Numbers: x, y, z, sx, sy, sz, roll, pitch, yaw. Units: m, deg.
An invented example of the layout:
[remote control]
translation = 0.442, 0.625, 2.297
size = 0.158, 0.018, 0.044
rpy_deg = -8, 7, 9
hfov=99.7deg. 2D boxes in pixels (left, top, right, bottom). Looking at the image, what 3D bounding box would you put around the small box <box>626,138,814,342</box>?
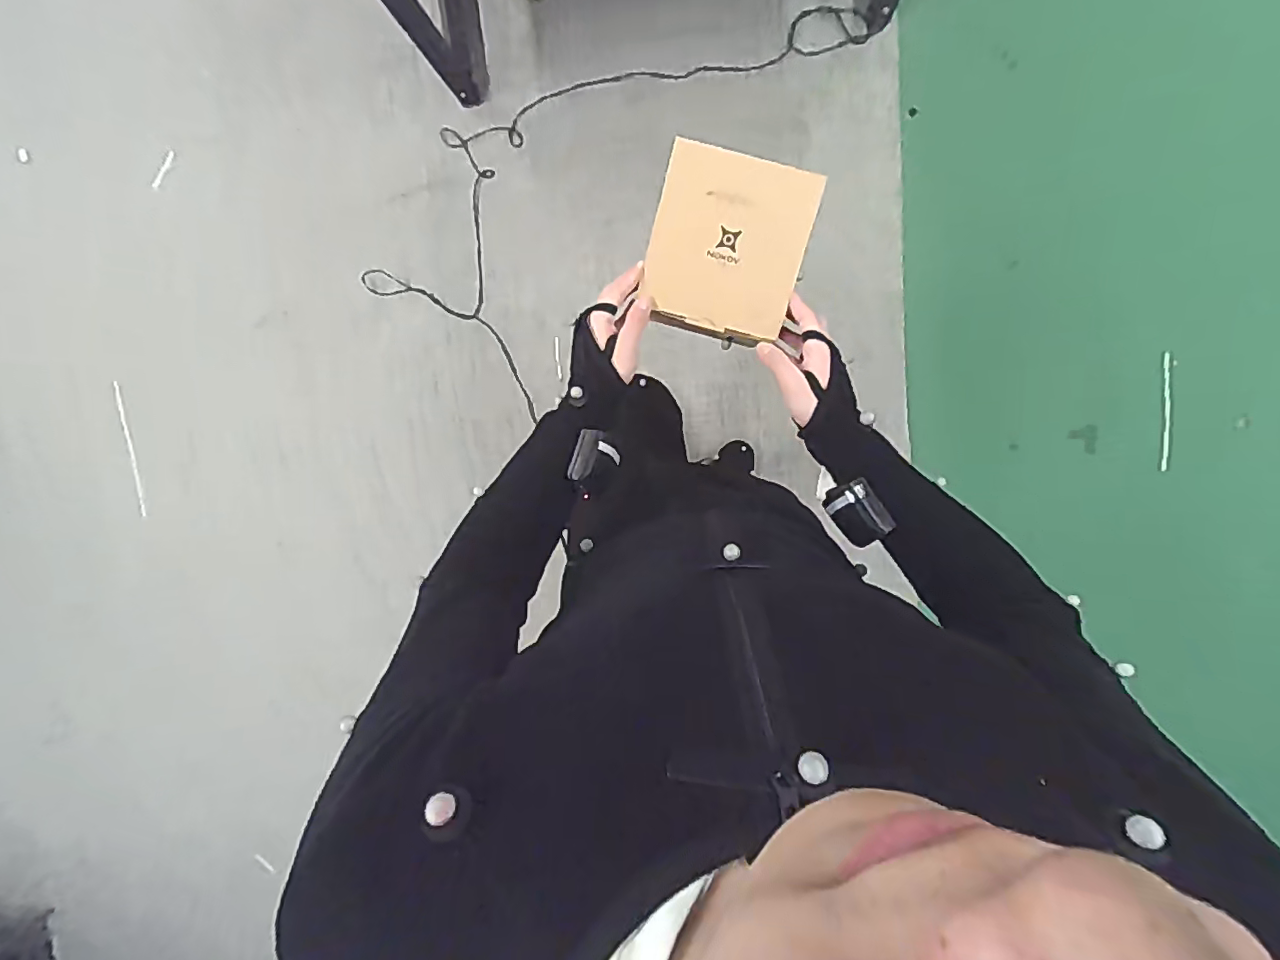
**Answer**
[small box]
translation = 0.090, -0.274, 0.664
size = 0.168, 0.176, 0.179
rpy_deg = 16, 103, 0
